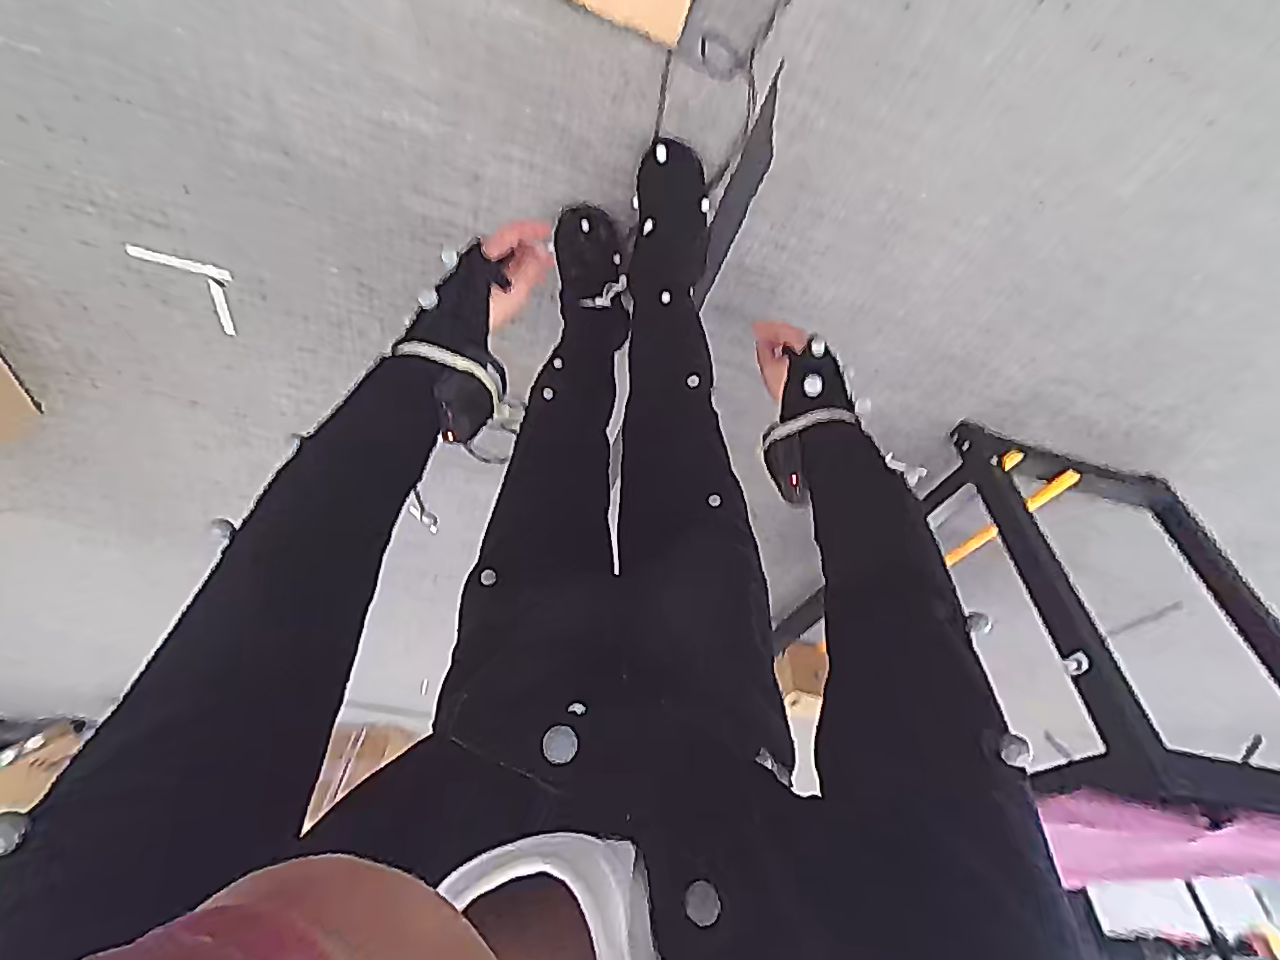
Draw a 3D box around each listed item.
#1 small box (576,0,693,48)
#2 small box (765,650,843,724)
[{"bbox_3d":[-0.001,-0.611,0.574,0.168,0.176,0.179,17,136,-11],"label":"small box"},{"bbox_3d":[0.532,0.681,1.785,0.179,0.176,0.168,14,135,-13],"label":"small box"}]
